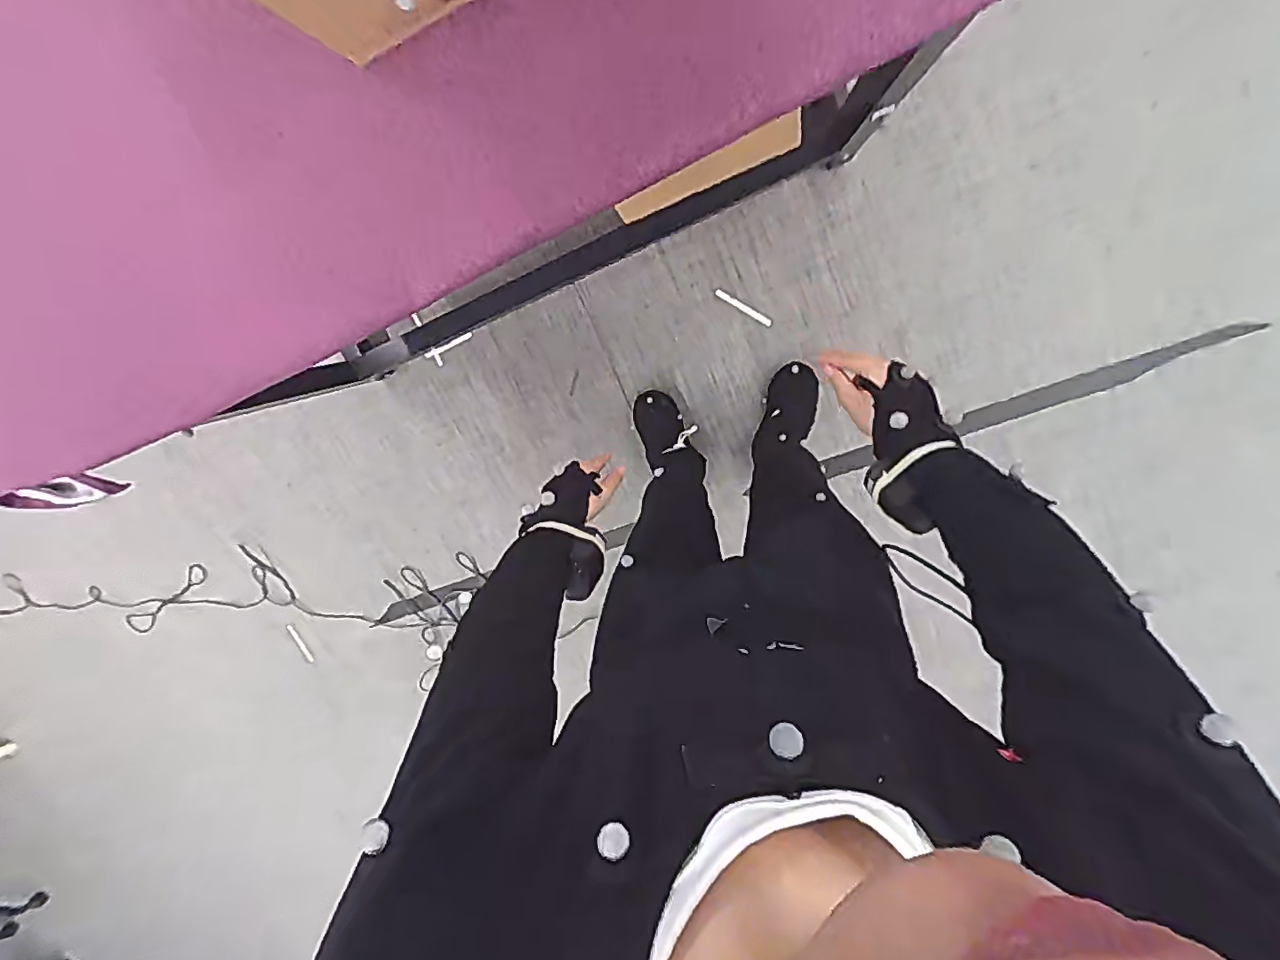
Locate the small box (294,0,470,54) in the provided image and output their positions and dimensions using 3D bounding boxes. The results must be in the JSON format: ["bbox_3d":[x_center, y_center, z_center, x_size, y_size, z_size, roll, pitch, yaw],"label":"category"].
[{"bbox_3d":[-0.210,-0.443,0.358,0.168,0.176,0.179,-17,105,15],"label":"small box"}]
